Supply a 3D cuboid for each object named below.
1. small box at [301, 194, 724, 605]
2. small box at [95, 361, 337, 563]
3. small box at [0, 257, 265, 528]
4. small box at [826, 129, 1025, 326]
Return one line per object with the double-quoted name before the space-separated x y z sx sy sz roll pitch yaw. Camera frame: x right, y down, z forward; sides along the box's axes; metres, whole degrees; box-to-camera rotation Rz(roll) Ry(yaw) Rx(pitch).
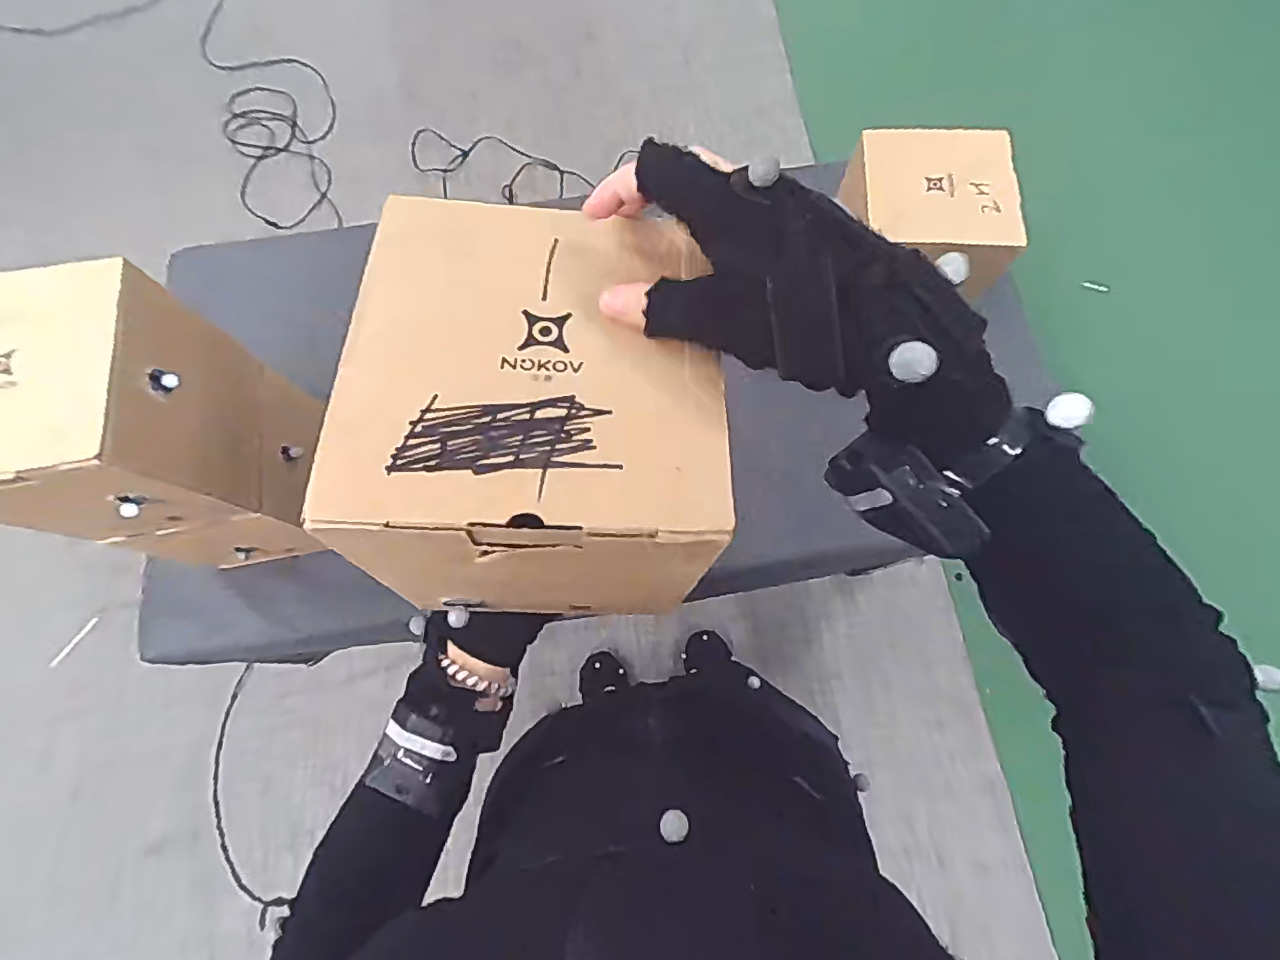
"small box" -0.053 -0.028 0.313 0.168 0.176 0.179 2 65 -5
"small box" -0.464 -0.012 0.631 0.168 0.176 0.179 -10 73 -2
"small box" -0.467 -0.060 0.476 0.168 0.176 0.179 -8 73 -3
"small box" 0.349 -0.317 0.703 0.179 0.176 0.168 3 74 2
